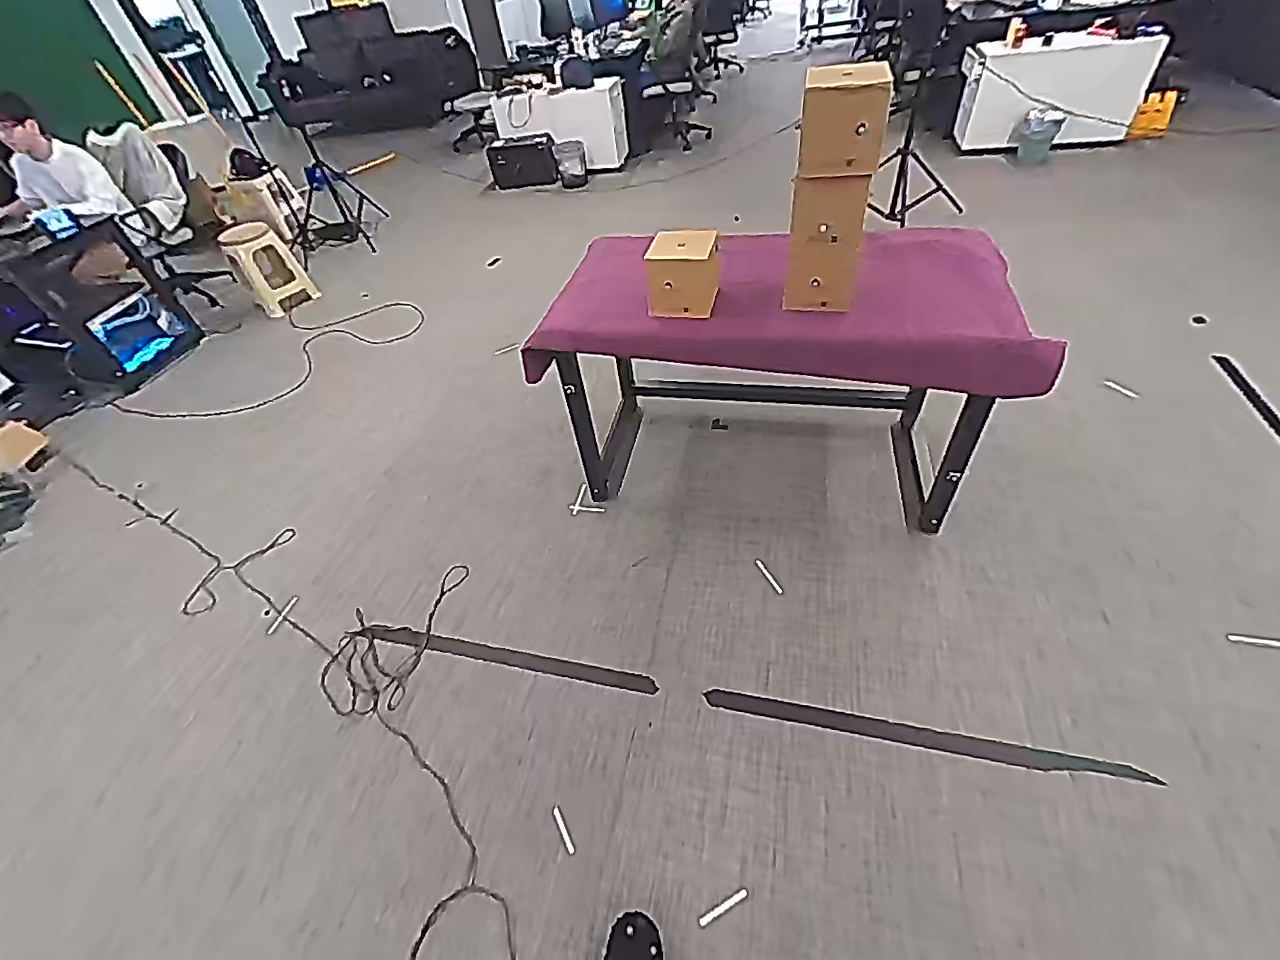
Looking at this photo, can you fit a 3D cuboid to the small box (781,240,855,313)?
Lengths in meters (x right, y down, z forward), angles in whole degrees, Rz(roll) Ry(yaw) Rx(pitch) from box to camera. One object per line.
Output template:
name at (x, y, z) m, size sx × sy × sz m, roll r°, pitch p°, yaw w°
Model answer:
small box at (0.465, -0.553, 1.412) m, size 0.168 × 0.176 × 0.179 m, roll 8°, pitch 48°, yaw 15°

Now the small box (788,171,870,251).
small box at (0.450, -0.669, 1.296) m, size 0.168 × 0.176 × 0.179 m, roll 7°, pitch 48°, yaw 15°

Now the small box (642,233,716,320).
small box at (0.113, -0.548, 1.464) m, size 0.168 × 0.176 × 0.179 m, roll 6°, pitch 46°, yaw 14°

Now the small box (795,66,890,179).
small box at (0.428, -0.765, 1.165) m, size 0.168 × 0.176 × 0.179 m, roll 5°, pitch 47°, yaw 13°
